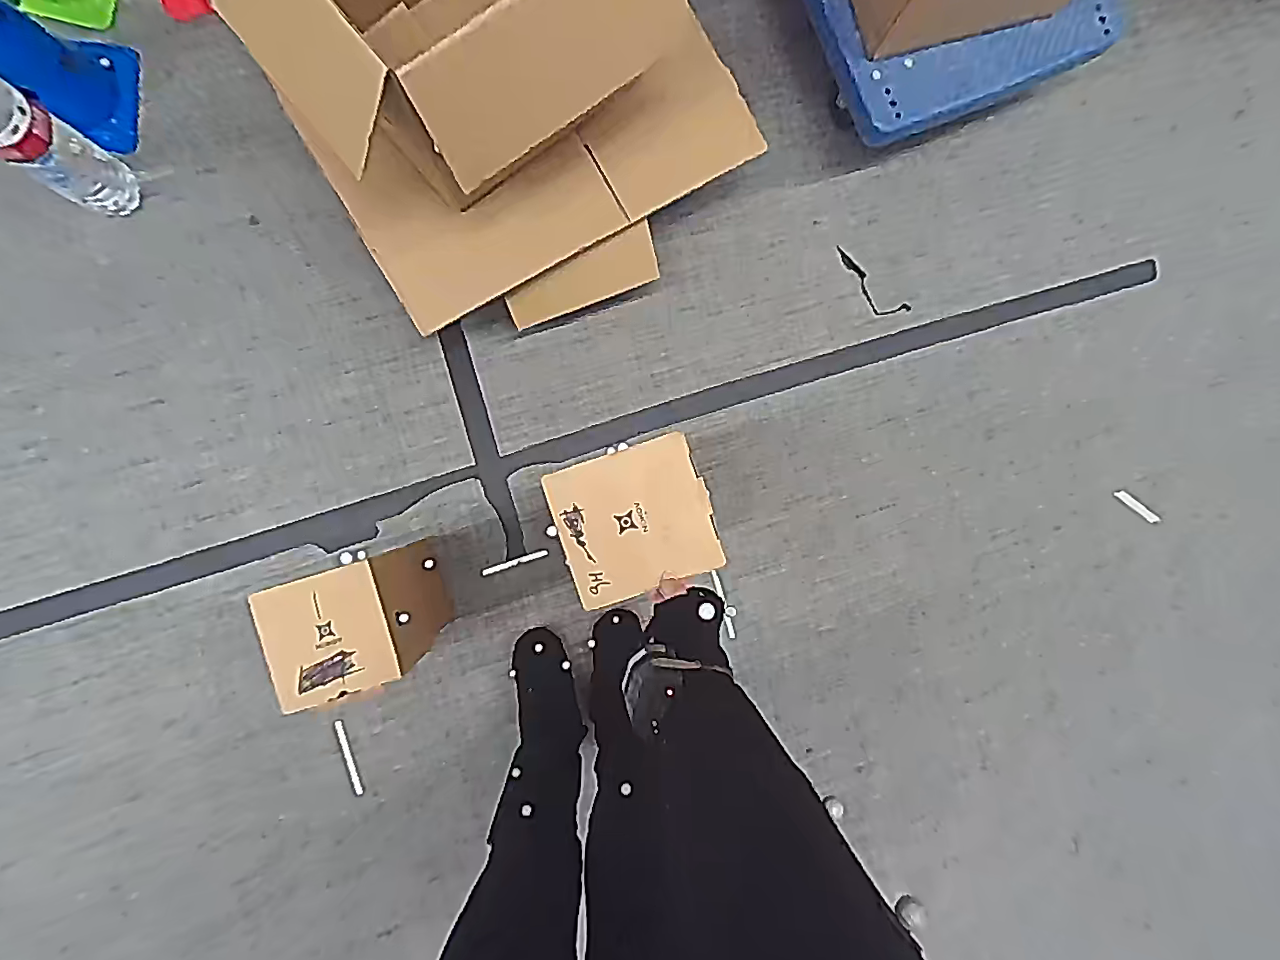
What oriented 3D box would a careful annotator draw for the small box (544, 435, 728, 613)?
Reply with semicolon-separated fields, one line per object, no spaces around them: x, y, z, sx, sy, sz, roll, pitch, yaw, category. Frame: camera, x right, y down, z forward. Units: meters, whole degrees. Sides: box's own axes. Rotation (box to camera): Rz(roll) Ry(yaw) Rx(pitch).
-0.007;0.050;0.696;0.179;0.176;0.168;-18;89;-1;small box

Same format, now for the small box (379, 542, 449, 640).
-0.464;0.220;0.983;0.179;0.176;0.168;-19;91;-6;small box

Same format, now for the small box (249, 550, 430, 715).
-0.438;0.218;0.821;0.168;0.176;0.179;-16;90;-7;small box
